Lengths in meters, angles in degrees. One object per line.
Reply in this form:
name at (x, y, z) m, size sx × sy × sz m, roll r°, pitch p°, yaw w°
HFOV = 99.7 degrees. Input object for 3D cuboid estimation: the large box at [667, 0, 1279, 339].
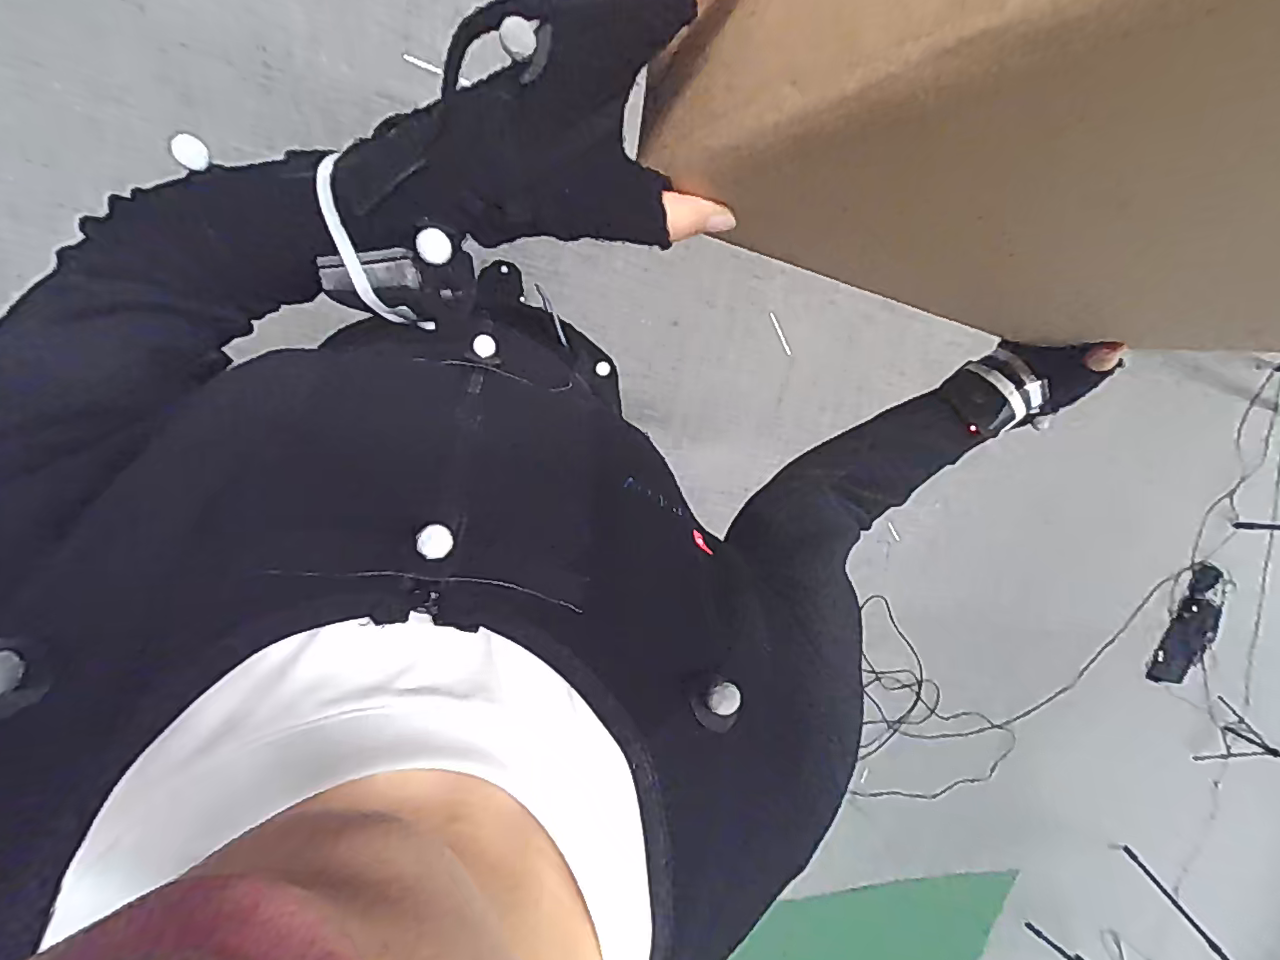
large box at (0.269, -0.241, 0.216) m, size 0.408 × 0.320 × 0.320 m, roll 2°, pitch 103°, yaw -32°
